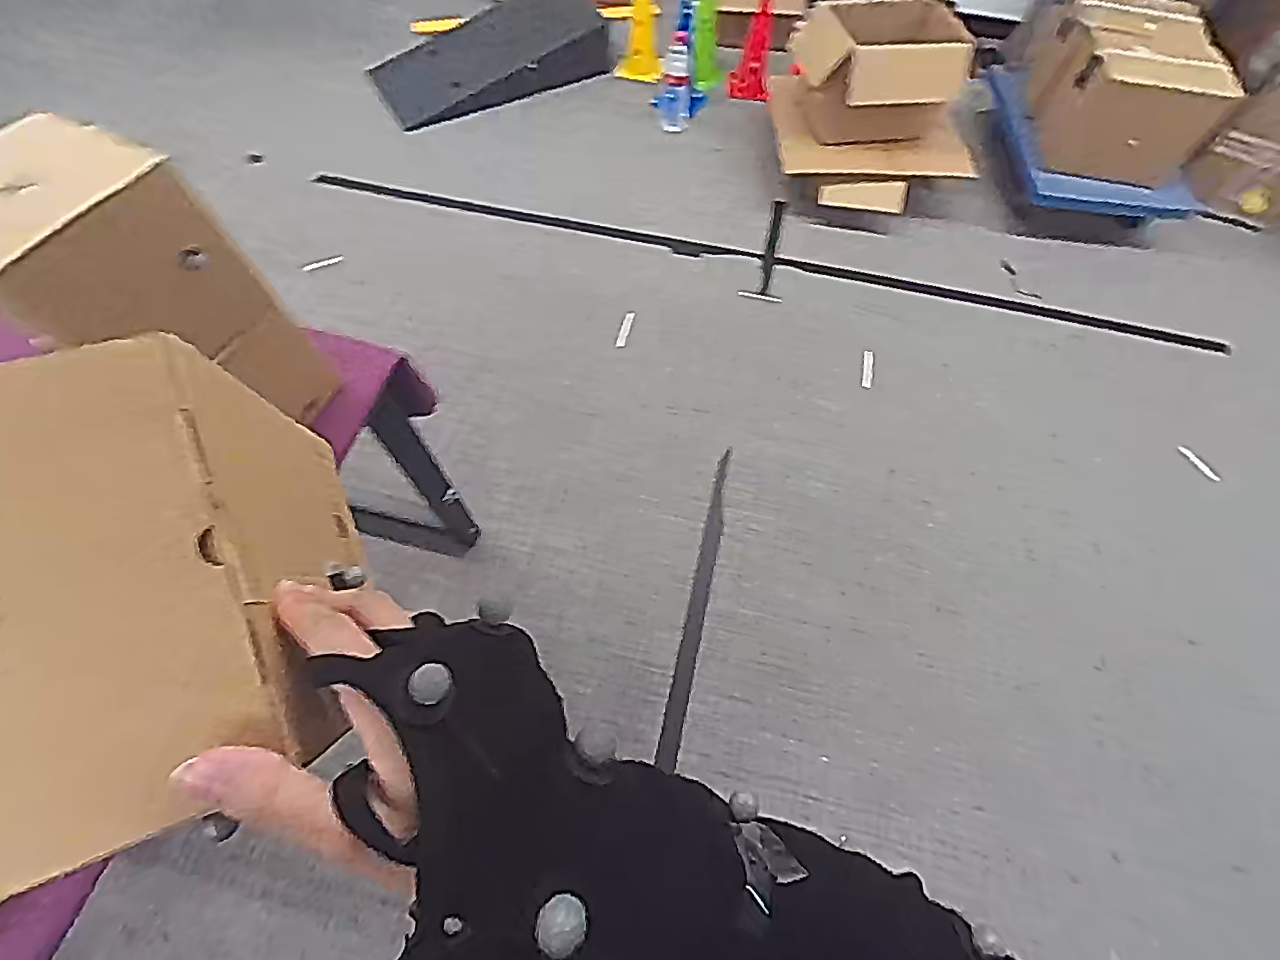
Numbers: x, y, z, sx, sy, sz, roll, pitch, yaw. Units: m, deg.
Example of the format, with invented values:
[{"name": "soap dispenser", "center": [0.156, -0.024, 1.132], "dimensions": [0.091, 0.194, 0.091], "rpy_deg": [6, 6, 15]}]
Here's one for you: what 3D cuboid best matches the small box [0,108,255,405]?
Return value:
[{"name": "small box", "center": [-0.524, -0.207, 0.522], "dimensions": [0.168, 0.176, 0.179], "rpy_deg": [23, 67, 11]}]
